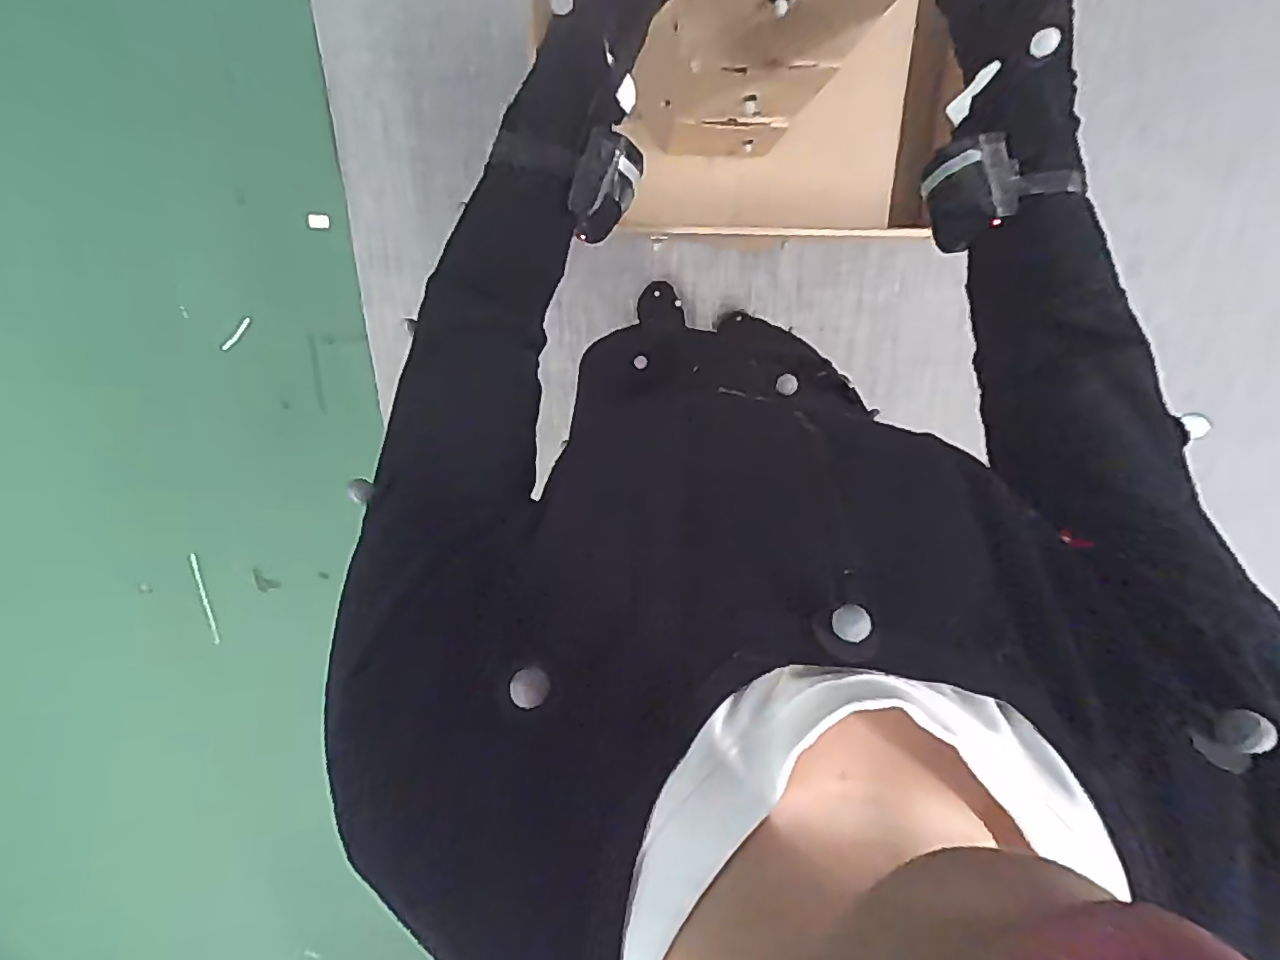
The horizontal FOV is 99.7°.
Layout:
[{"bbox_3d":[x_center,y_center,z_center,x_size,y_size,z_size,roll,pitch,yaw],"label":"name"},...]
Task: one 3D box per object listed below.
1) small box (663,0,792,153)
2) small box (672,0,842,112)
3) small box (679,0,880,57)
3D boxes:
[{"bbox_3d":[0.121,-0.583,0.770,0.168,0.176,0.179,0,107,-2],"label":"small box"},{"bbox_3d":[0.126,-0.538,0.613,0.168,0.176,0.179,-2,110,-1],"label":"small box"},{"bbox_3d":[0.127,-0.488,0.455,0.179,0.176,0.168,0,109,-2],"label":"small box"}]
